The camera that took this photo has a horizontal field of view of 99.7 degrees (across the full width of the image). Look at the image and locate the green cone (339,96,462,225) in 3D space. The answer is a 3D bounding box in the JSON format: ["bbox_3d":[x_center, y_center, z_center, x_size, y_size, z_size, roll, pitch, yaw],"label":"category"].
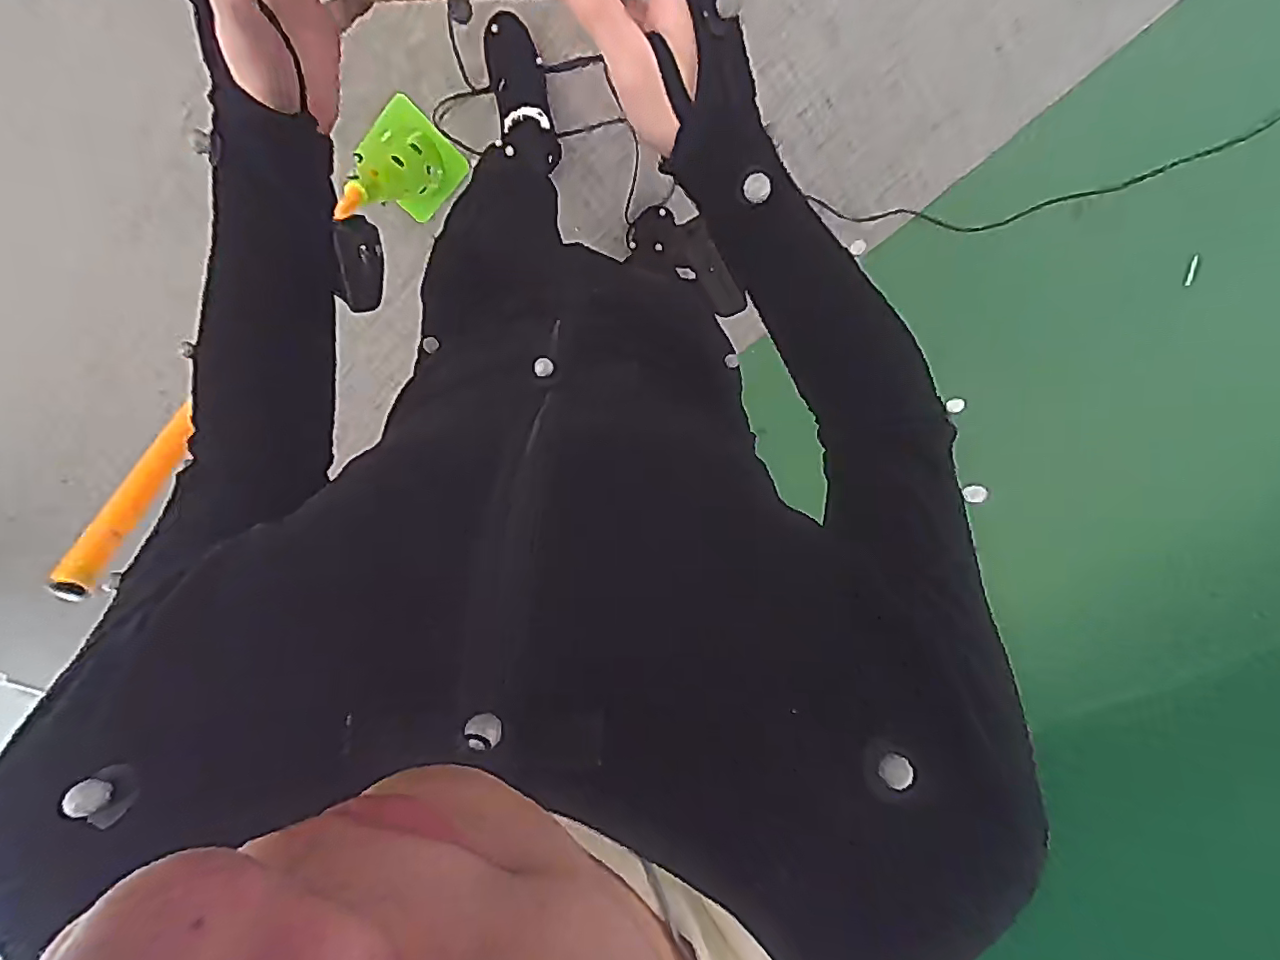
[{"bbox_3d":[-0.530,-0.620,1.109,0.202,0.368,0.200,-37,122,22],"label":"green cone"}]
